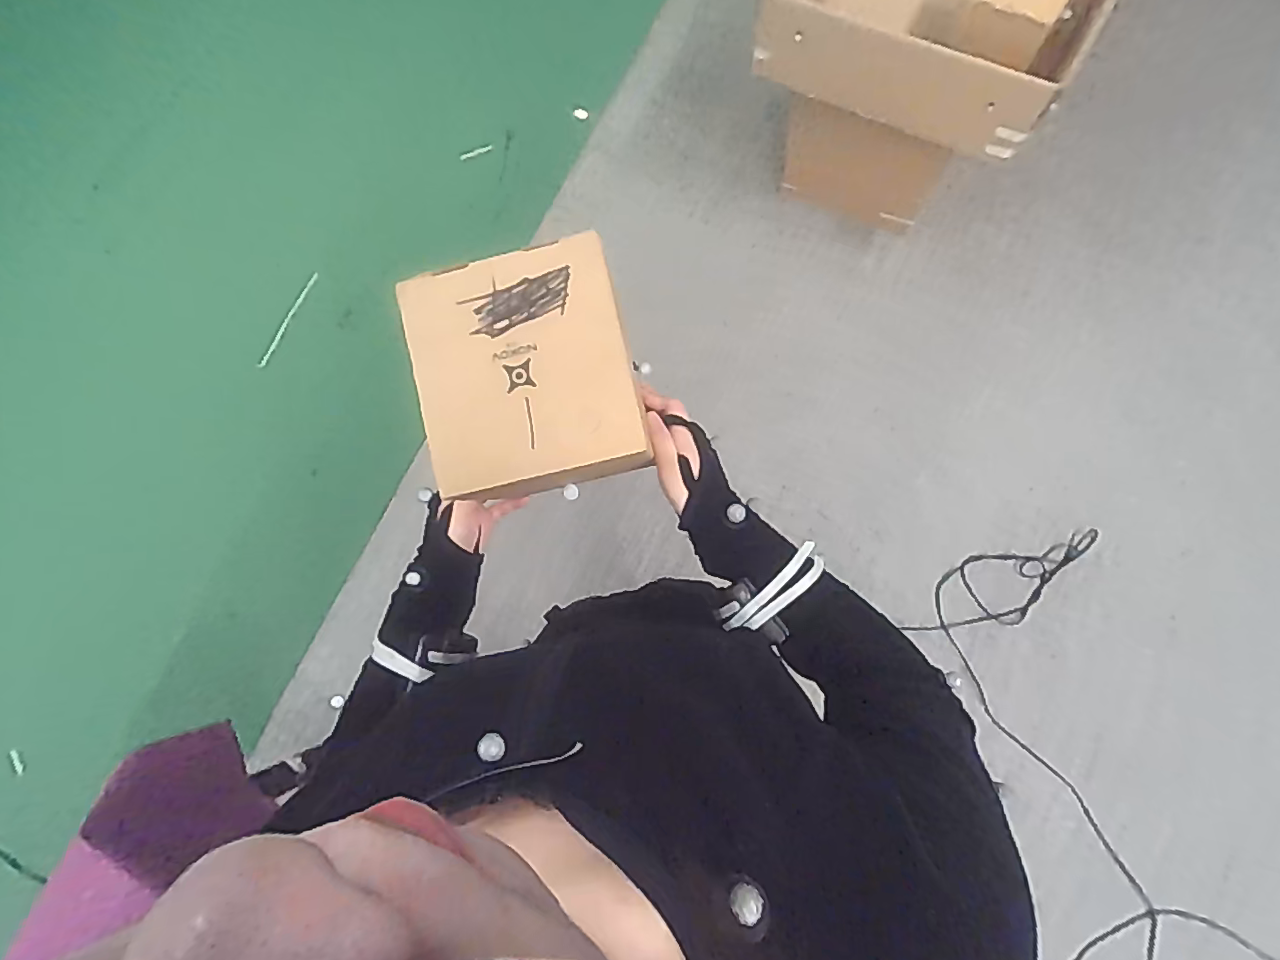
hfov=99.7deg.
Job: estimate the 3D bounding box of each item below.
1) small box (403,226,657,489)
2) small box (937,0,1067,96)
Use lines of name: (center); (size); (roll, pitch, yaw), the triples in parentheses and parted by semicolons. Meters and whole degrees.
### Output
small box: (-0.084, -0.092, 0.493); (0.168, 0.176, 0.179); (-12, 88, 5)
small box: (0.718, -0.910, 1.052); (0.168, 0.176, 0.179); (31, 86, 12)
